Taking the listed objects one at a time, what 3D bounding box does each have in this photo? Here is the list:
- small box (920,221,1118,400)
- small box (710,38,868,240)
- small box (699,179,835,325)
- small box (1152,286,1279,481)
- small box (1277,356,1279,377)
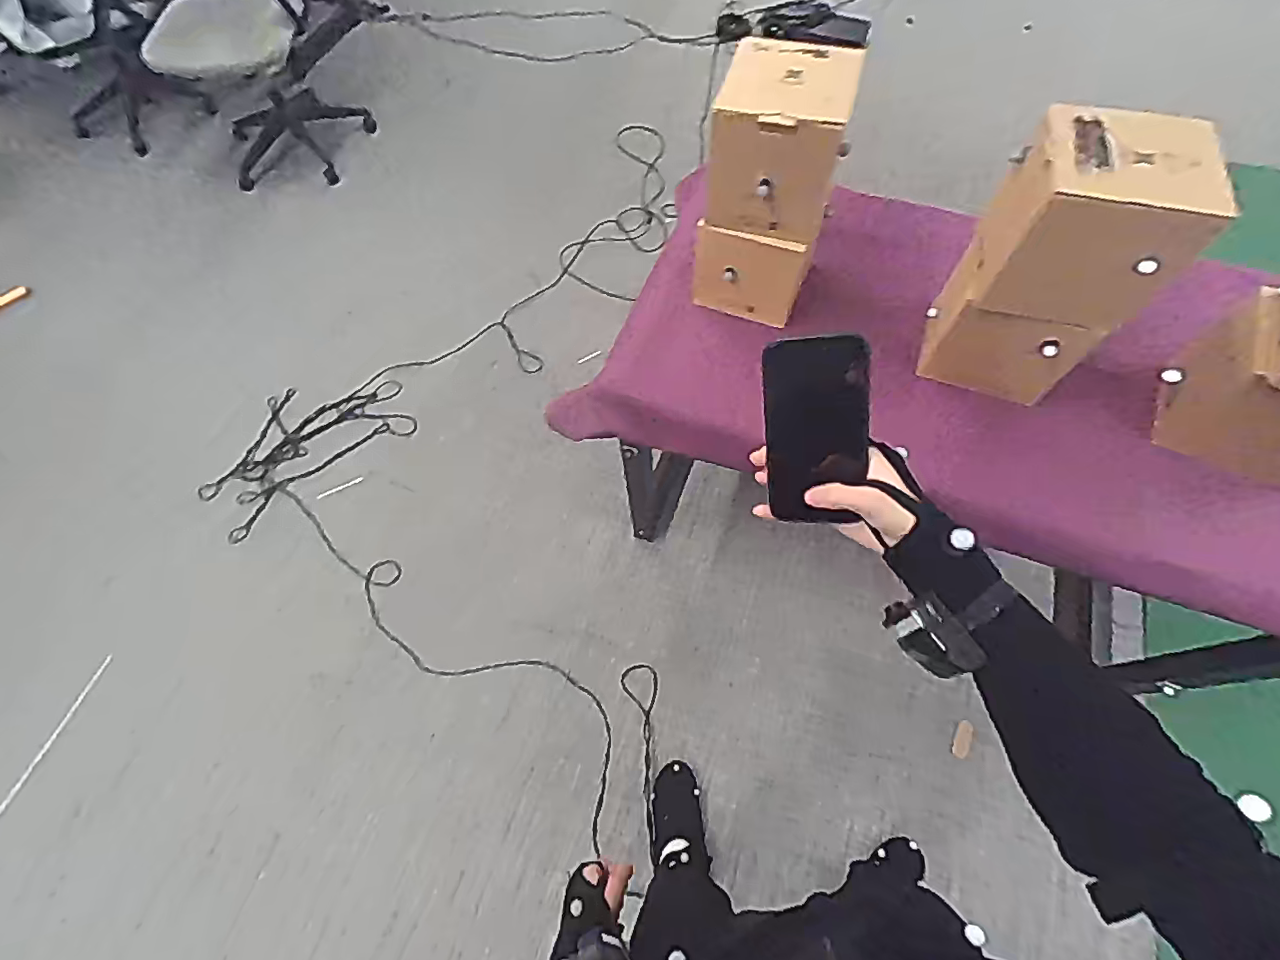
[{"bbox_3d":[0.554,-0.244,0.807,0.179,0.176,0.168,20,66,13],"label":"small box"},{"bbox_3d":[0.199,-0.470,0.758,0.168,0.176,0.179,16,66,10],"label":"small box"},{"bbox_3d":[0.204,-0.390,0.901,0.168,0.176,0.179,20,66,13],"label":"small box"},{"bbox_3d":[0.861,-0.120,0.728,0.179,0.176,0.168,26,67,15],"label":"small box"},{"bbox_3d":[0.855,-0.178,0.574,0.179,0.176,0.168,25,67,14],"label":"small box"}]
